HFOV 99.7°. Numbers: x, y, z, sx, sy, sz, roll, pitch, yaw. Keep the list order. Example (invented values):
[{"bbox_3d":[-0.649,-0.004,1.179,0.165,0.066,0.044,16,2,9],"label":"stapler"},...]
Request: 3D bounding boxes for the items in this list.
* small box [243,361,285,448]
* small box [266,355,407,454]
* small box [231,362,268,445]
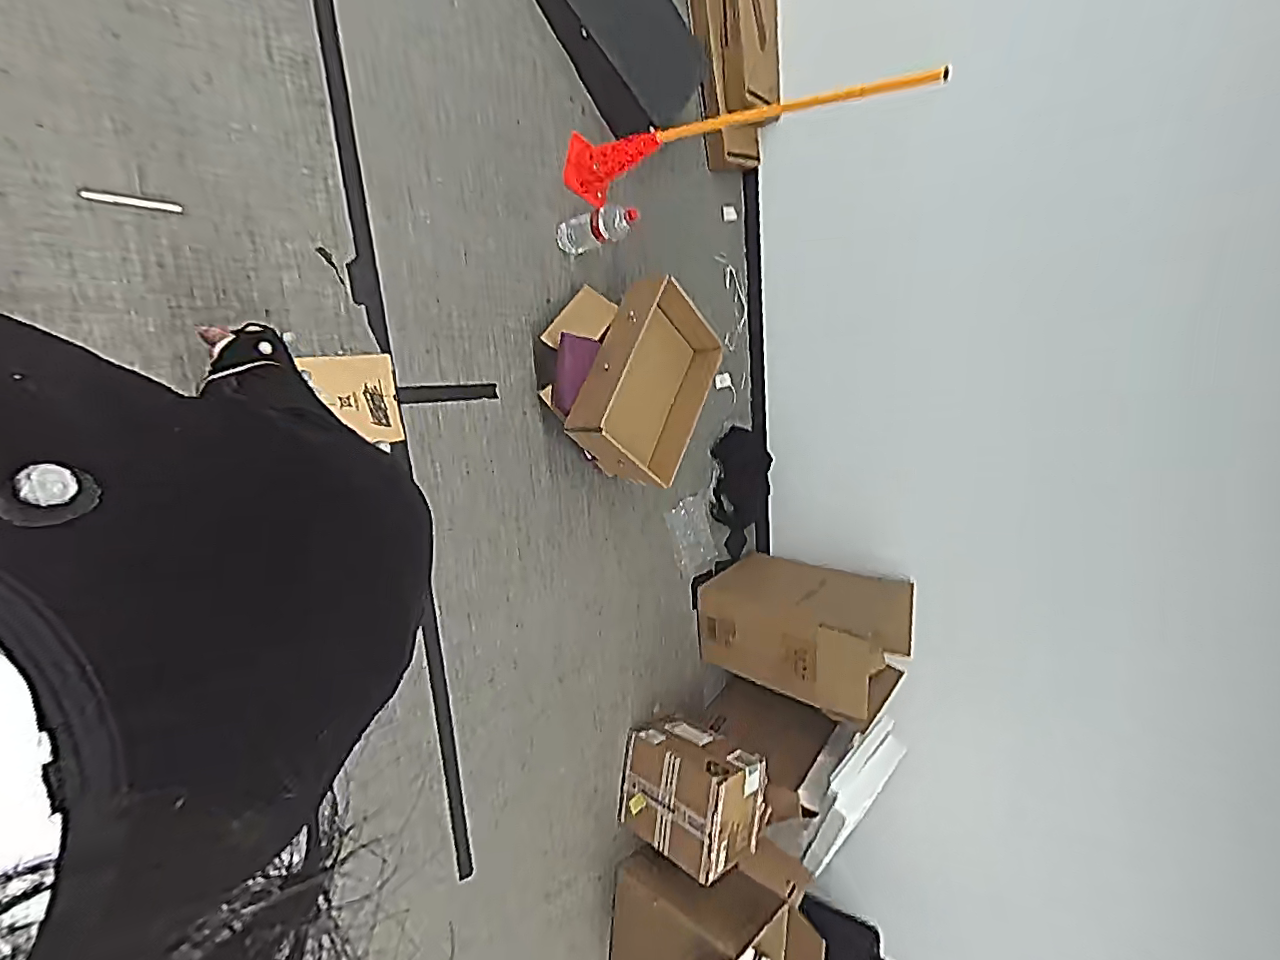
[{"bbox_3d":[-0.696,-0.165,1.136,0.179,0.176,0.168,-18,107,-46],"label":"small box"},{"bbox_3d":[-0.574,-0.148,1.026,0.179,0.176,0.168,-17,107,-45],"label":"small box"},{"bbox_3d":[-0.815,-0.180,1.248,0.168,0.176,0.179,-15,104,-46],"label":"small box"}]
